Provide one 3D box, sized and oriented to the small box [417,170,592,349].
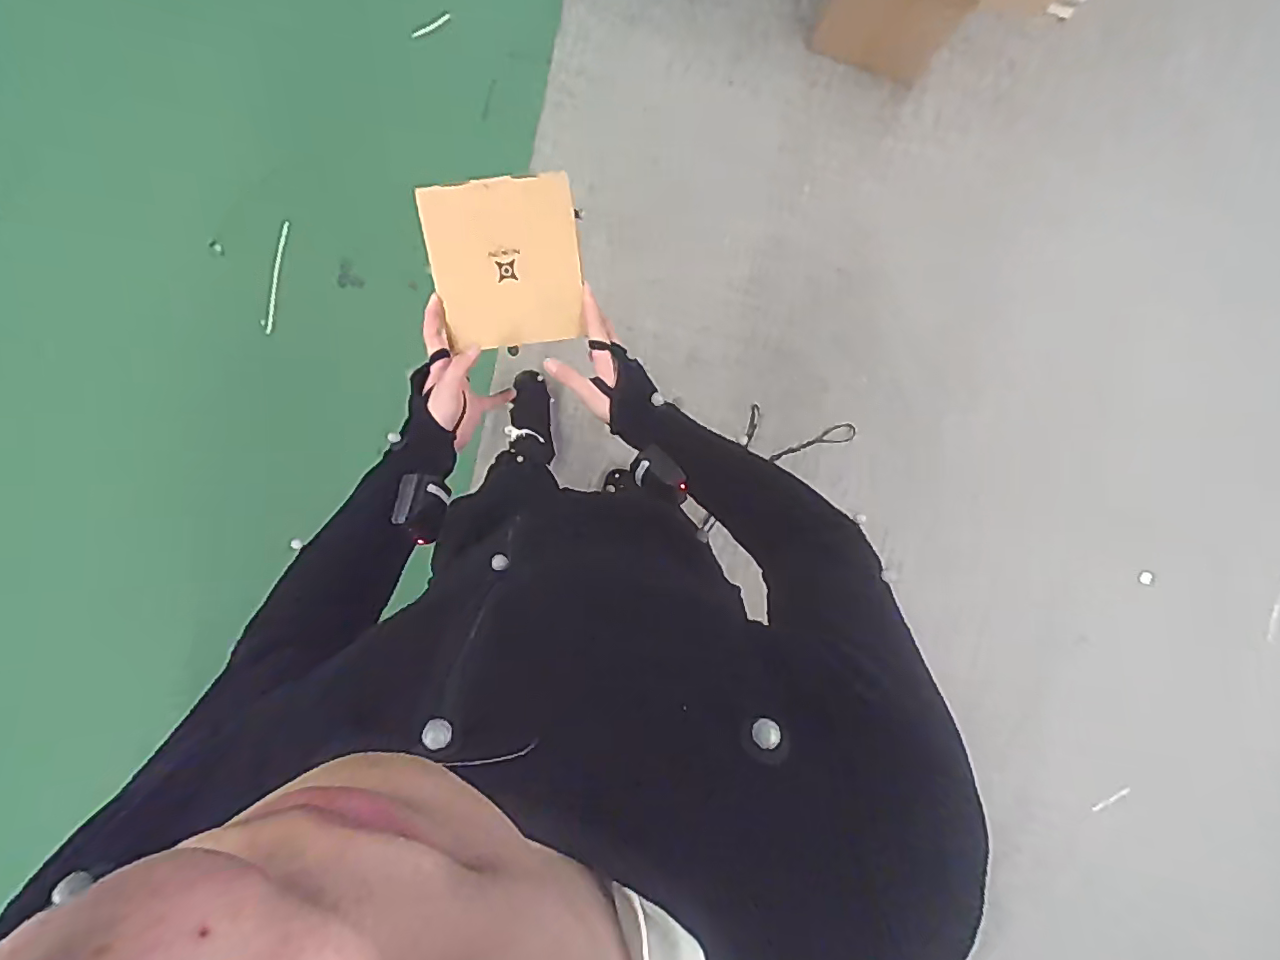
[{"bbox_3d":[-0.153,-0.268,0.680,0.168,0.176,0.179,-7,108,-1],"label":"small box"}]
